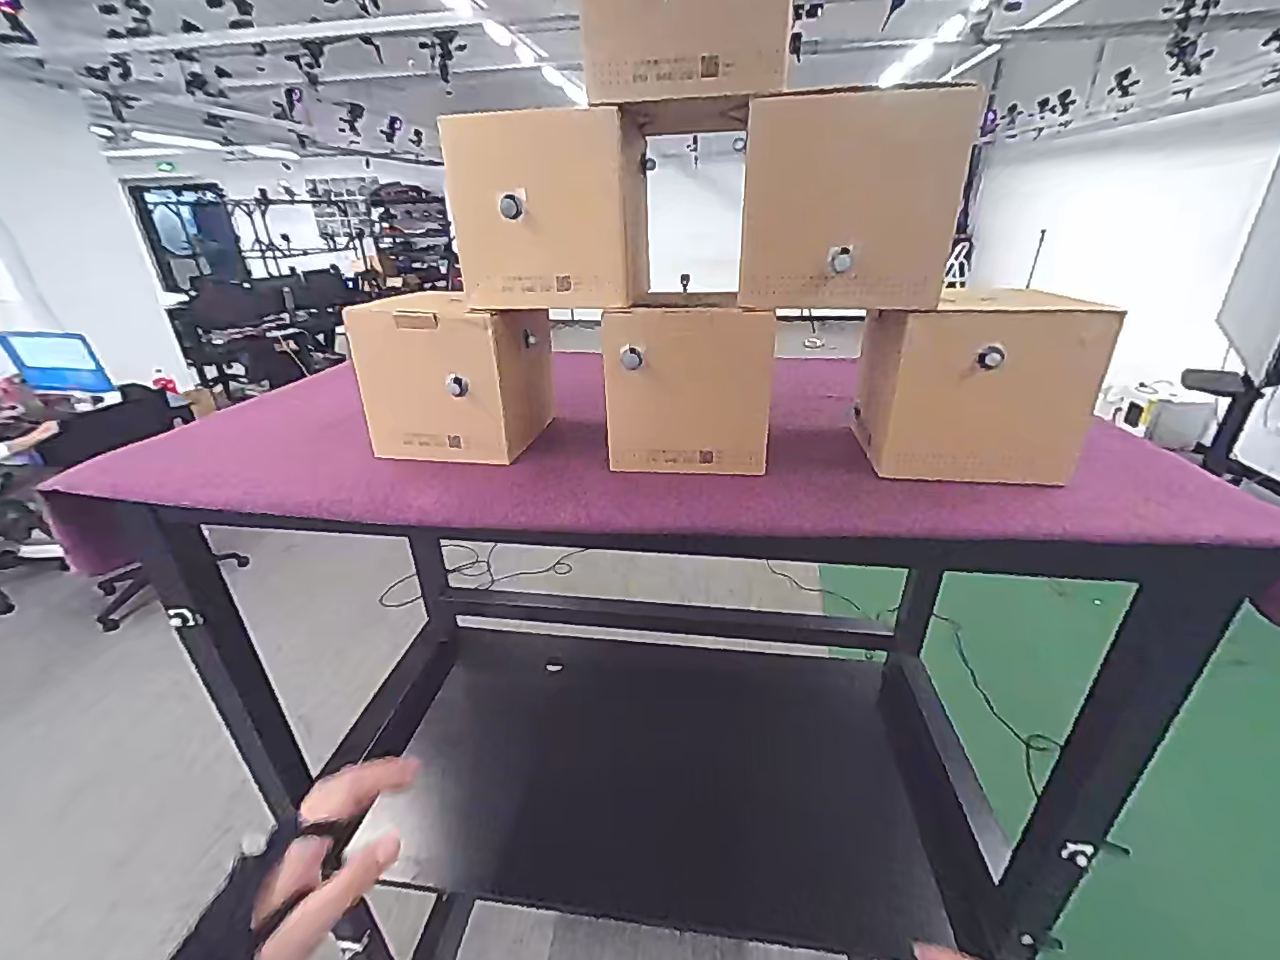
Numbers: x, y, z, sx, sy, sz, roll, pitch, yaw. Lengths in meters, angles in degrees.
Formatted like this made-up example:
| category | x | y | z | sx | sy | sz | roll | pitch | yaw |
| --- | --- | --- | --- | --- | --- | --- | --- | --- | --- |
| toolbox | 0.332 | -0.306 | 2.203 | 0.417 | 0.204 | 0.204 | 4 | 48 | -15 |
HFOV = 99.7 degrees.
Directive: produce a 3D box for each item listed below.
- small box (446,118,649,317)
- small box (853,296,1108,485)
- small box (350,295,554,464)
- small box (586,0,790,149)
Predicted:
| category | x | y | z | sx | sy | sz | roll | pitch | yaw |
| --- | --- | --- | --- | --- | --- | --- | --- | --- | --- |
| small box | -0.082 | -0.272 | 0.585 | 0.168 | 0.176 | 0.179 | 2 | 25 | 8 |
| small box | 0.340 | -0.102 | 0.587 | 0.179 | 0.176 | 0.168 | 3 | 26 | 8 |
| small box | -0.208 | -0.127 | 0.658 | 0.168 | 0.176 | 0.179 | 4 | 25 | 9 |
| small box | 0.048 | -0.417 | 0.497 | 0.168 | 0.176 | 0.179 | 2 | 25 | 7 |
